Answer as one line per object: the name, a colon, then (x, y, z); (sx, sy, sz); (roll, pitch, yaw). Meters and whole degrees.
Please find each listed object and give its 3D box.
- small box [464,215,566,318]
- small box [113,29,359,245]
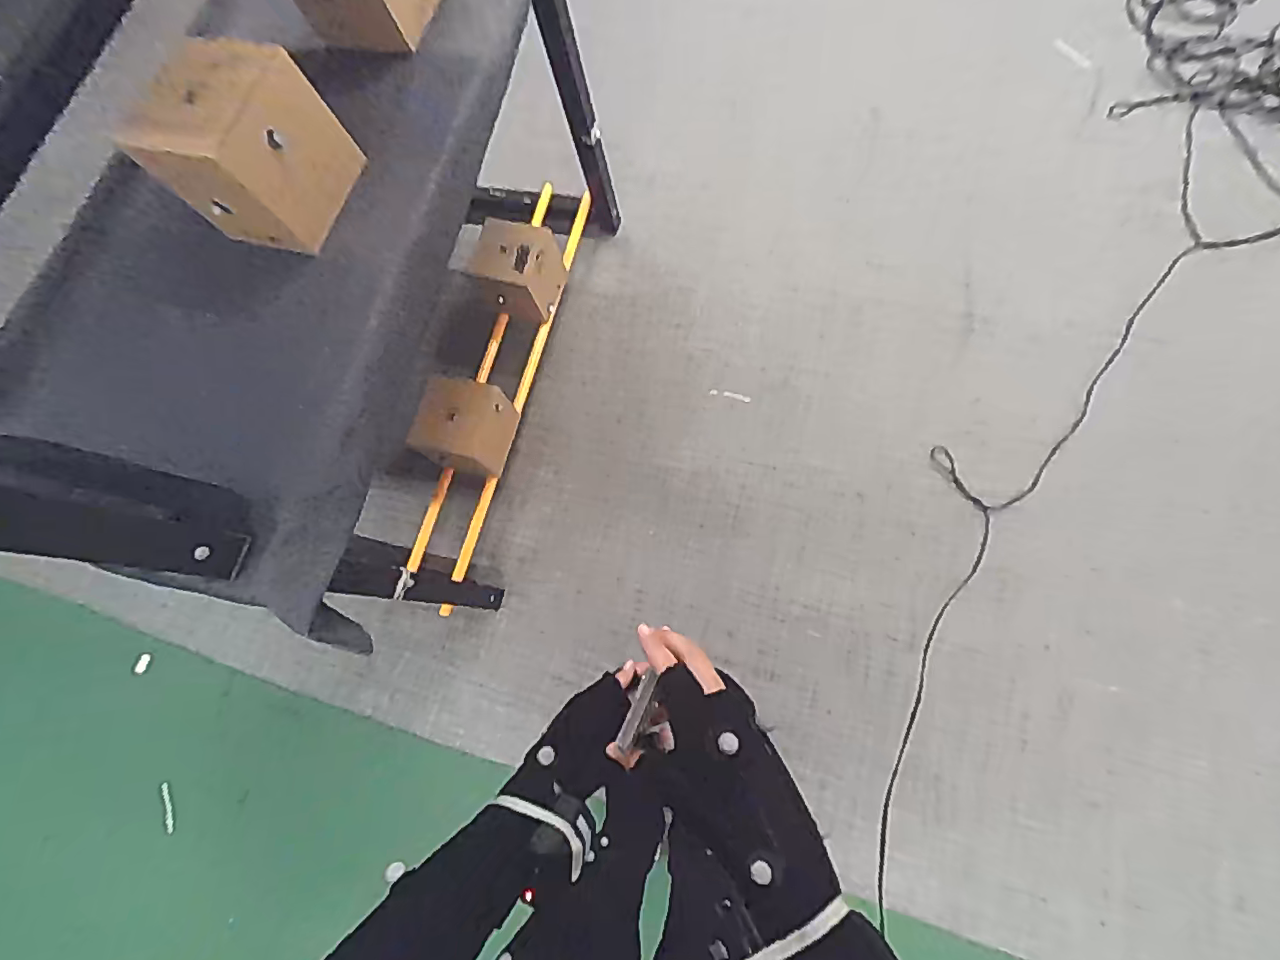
small box: (-0.306, -0.533, 1.369); (0.179, 0.176, 0.168); (15, 77, 13)
small box: (-0.517, -0.445, 0.720); (0.168, 0.176, 0.179); (15, 77, 13)
